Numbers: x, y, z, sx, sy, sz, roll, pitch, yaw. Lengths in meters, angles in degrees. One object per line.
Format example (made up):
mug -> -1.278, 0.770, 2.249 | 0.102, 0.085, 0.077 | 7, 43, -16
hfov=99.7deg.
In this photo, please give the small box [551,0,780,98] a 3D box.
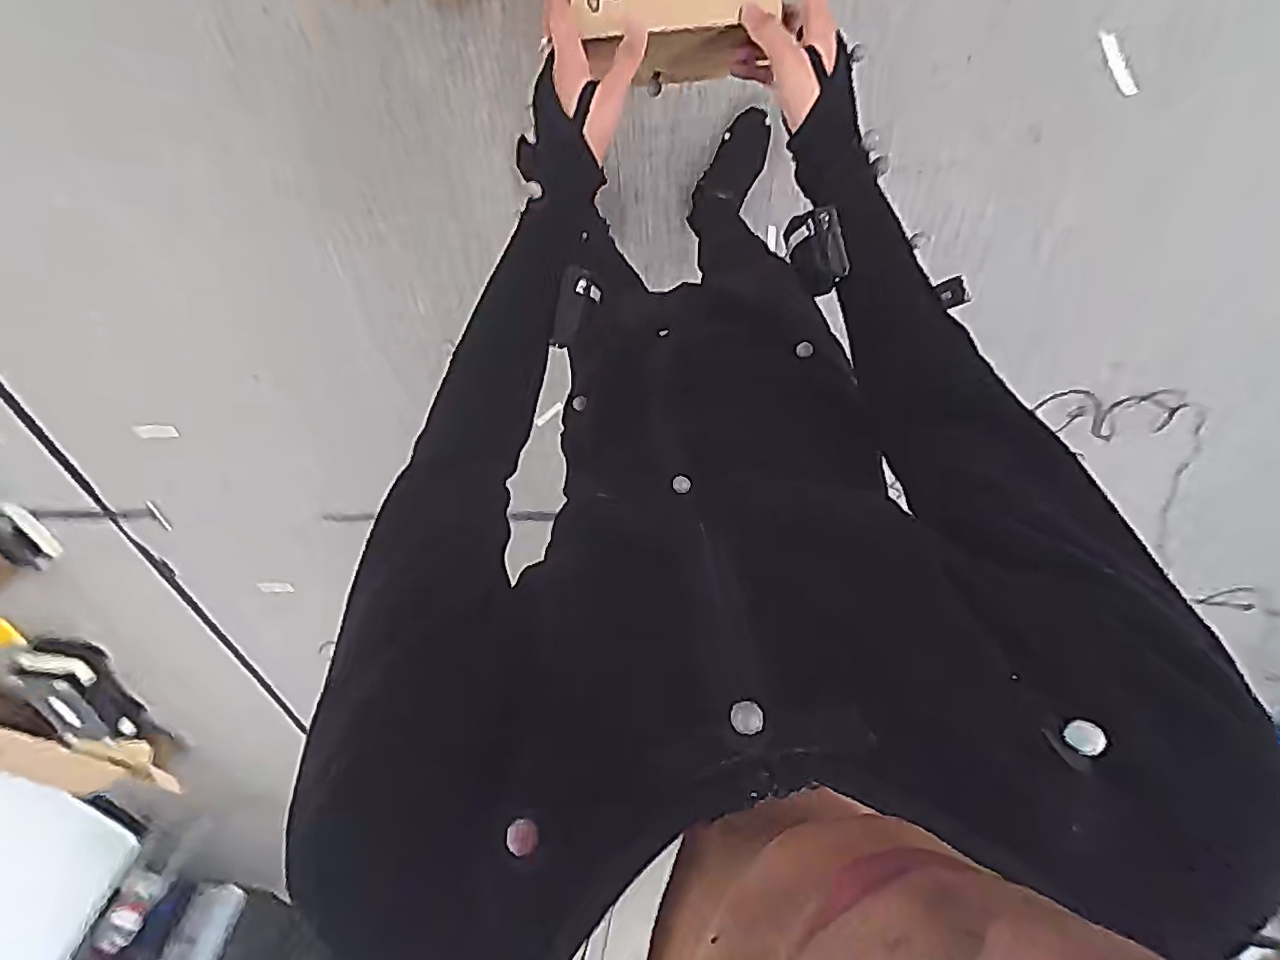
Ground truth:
small box -> 0.010, -0.461, 0.478 | 0.179, 0.176, 0.168 | -10, 113, -6
